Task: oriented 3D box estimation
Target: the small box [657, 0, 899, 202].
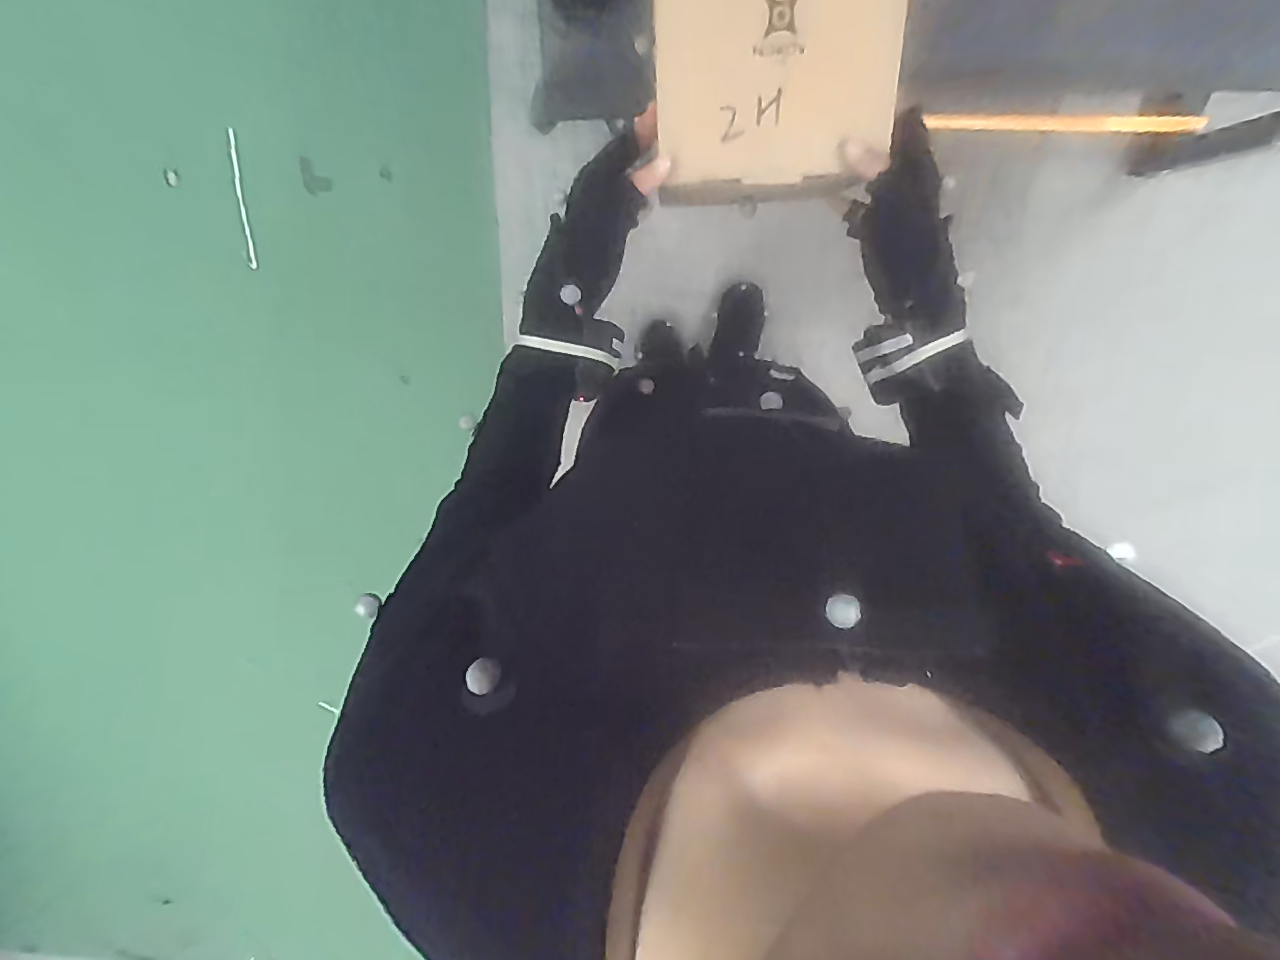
[{"bbox_3d":[0.098,-0.341,0.449,0.168,0.176,0.179,-1,111,4],"label":"small box"}]
